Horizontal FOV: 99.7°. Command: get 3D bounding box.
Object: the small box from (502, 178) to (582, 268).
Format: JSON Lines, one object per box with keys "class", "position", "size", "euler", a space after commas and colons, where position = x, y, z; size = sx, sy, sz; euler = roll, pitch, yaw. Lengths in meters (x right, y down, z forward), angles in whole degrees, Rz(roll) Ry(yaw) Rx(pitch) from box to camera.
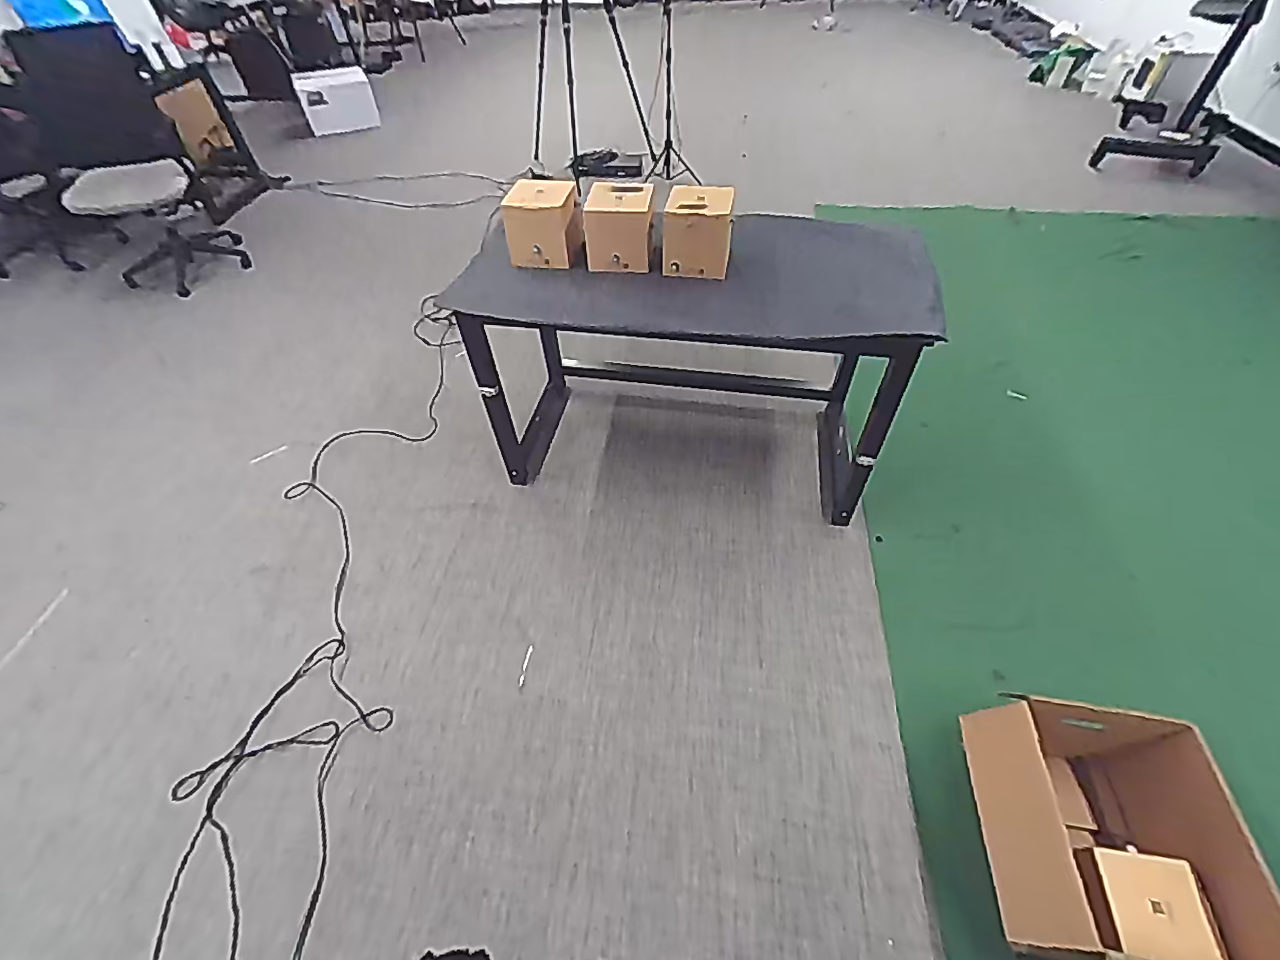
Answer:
{"class": "small box", "position": [-0.261, -0.707, 1.487], "size": [0.168, 0.176, 0.179], "euler": [5, 50, 7]}
